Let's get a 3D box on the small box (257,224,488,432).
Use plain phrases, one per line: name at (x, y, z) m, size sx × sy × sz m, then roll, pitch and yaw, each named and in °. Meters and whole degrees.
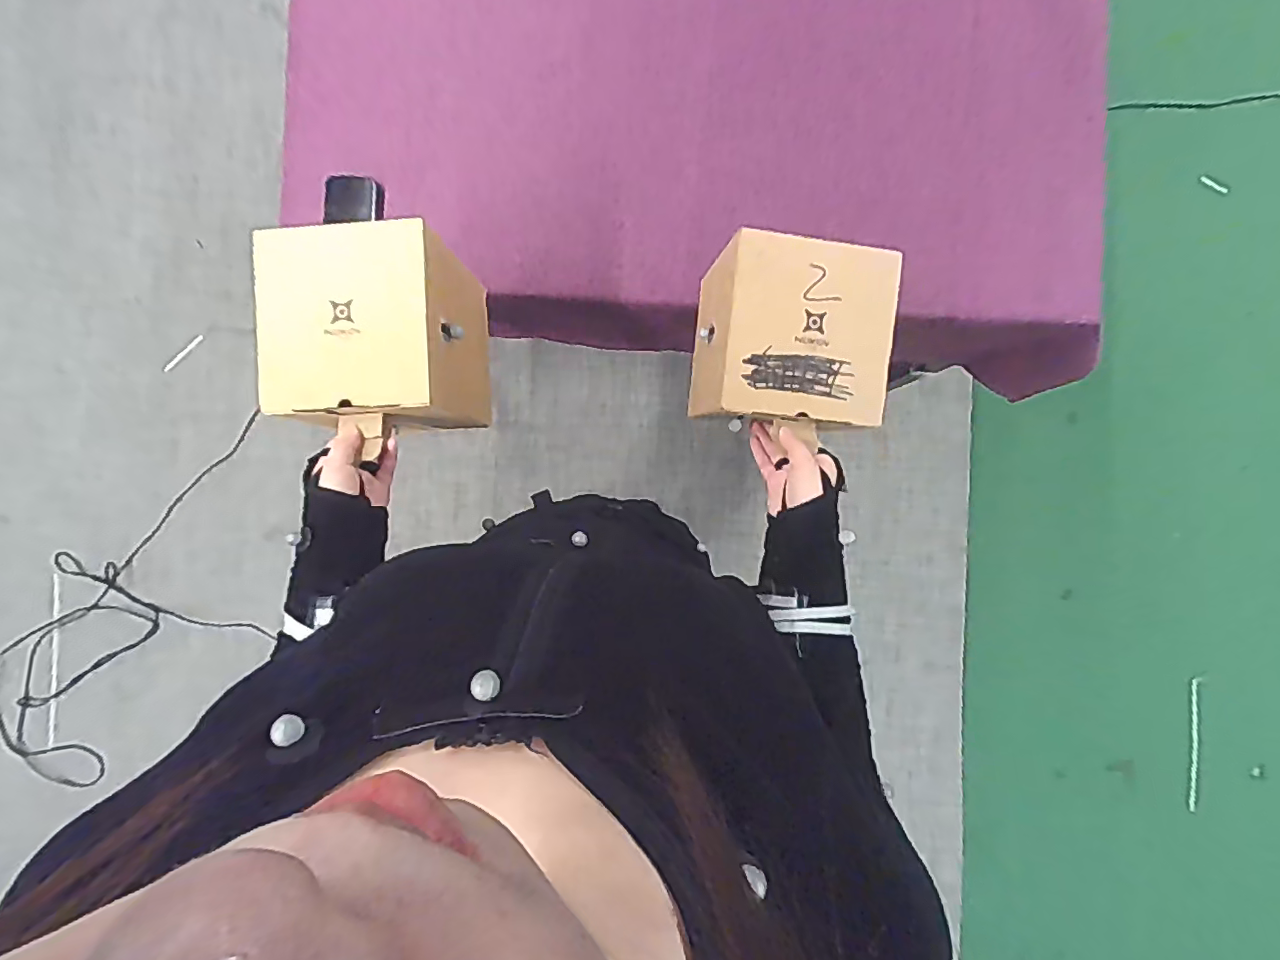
small box at (-0.270, -0.148, 0.580) m, size 0.168 × 0.176 × 0.179 m, roll -2°, pitch 90°, yaw 2°
